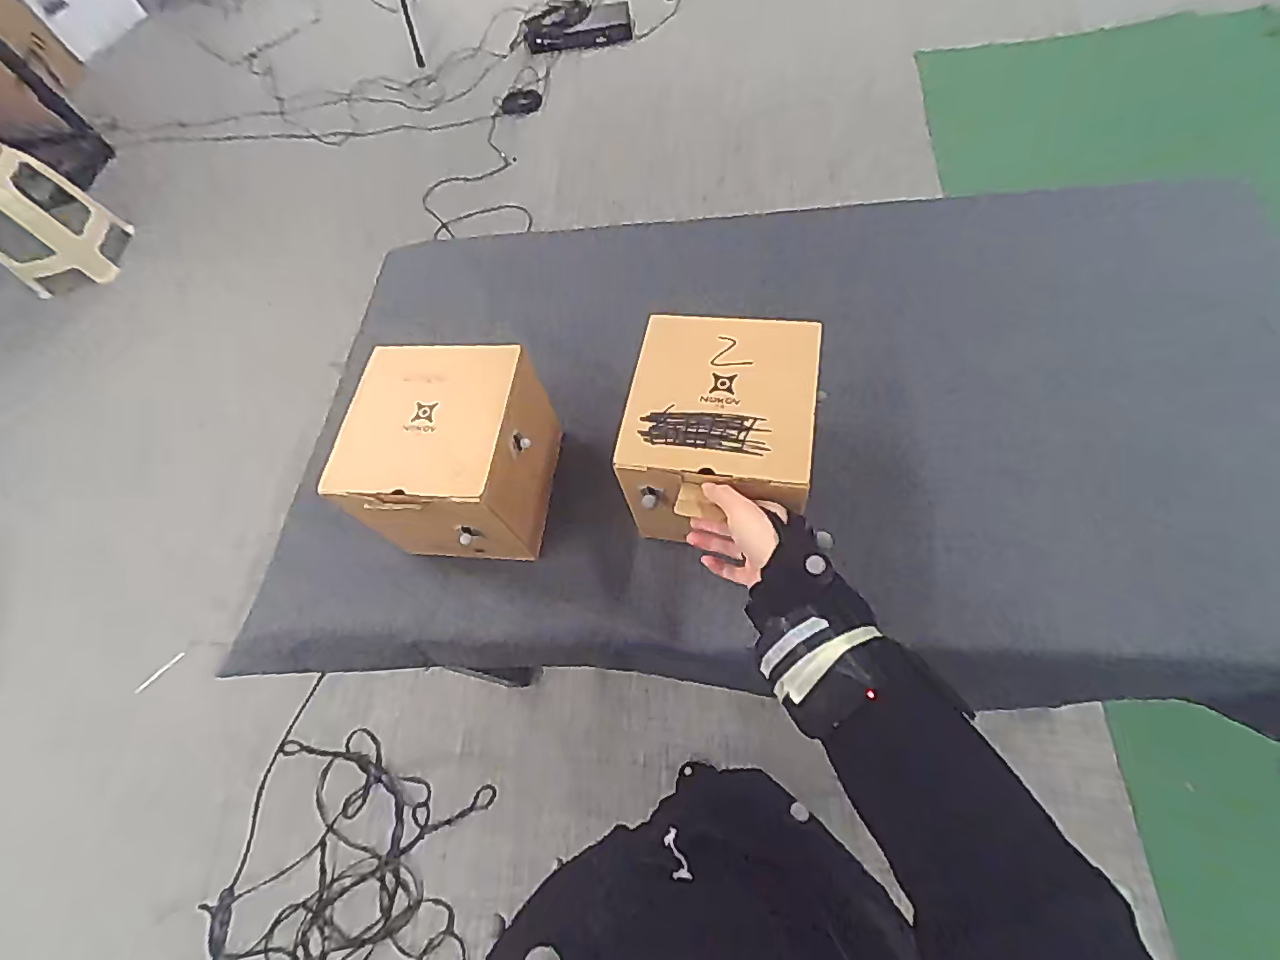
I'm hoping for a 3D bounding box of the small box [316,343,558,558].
[{"bbox_3d":[-0.196,-0.025,0.584,0.168,0.176,0.179,2,62,9],"label":"small box"}]
